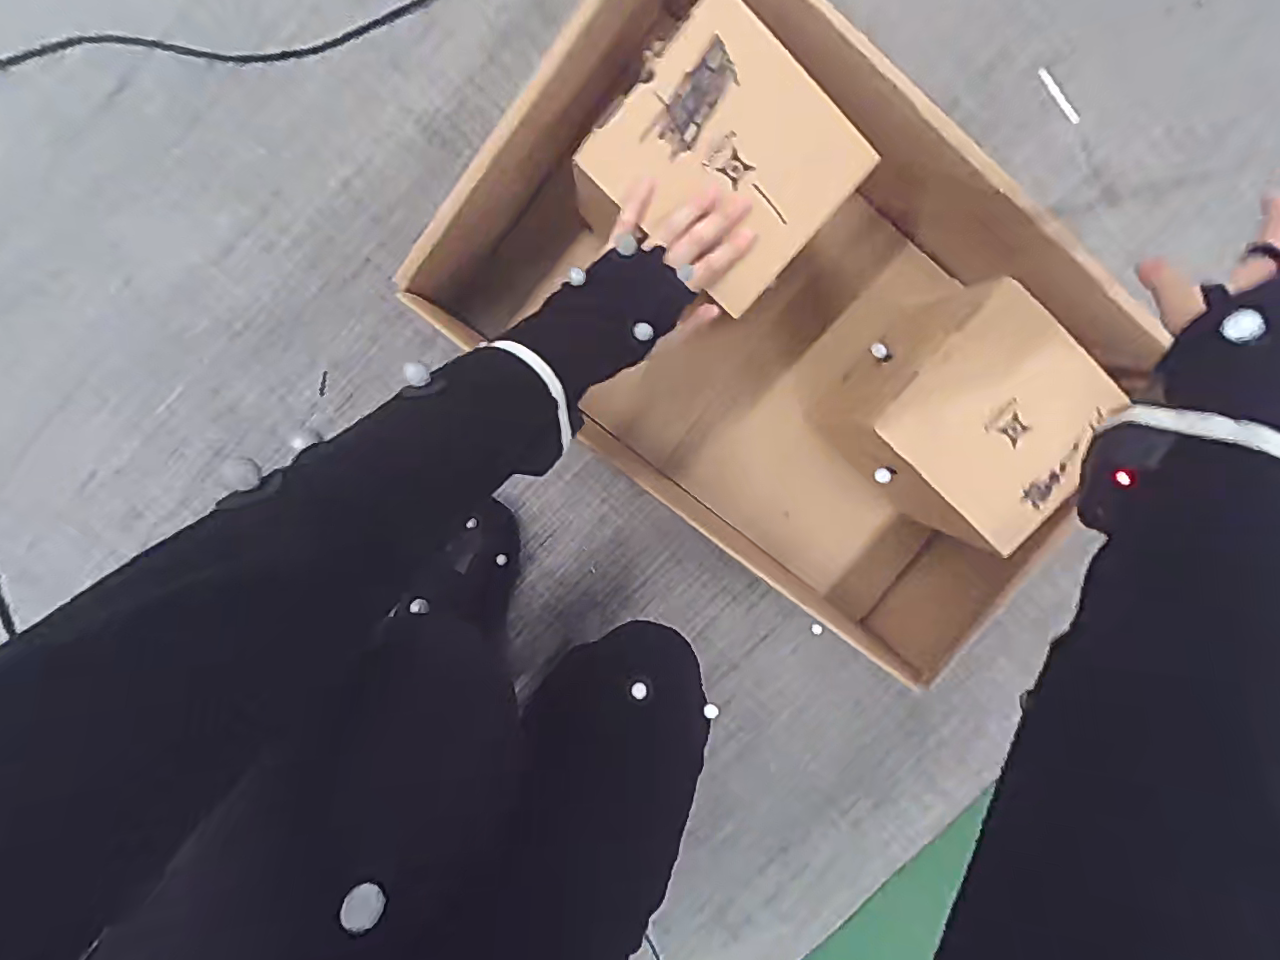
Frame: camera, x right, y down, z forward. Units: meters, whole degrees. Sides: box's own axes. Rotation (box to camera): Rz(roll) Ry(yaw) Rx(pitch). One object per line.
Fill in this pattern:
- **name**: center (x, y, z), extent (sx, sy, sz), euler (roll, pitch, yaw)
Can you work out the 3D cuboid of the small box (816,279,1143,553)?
- **small box**: center (0.308, -0.060, 0.534), extent (0.179, 0.176, 0.168), euler (43, 95, -7)
